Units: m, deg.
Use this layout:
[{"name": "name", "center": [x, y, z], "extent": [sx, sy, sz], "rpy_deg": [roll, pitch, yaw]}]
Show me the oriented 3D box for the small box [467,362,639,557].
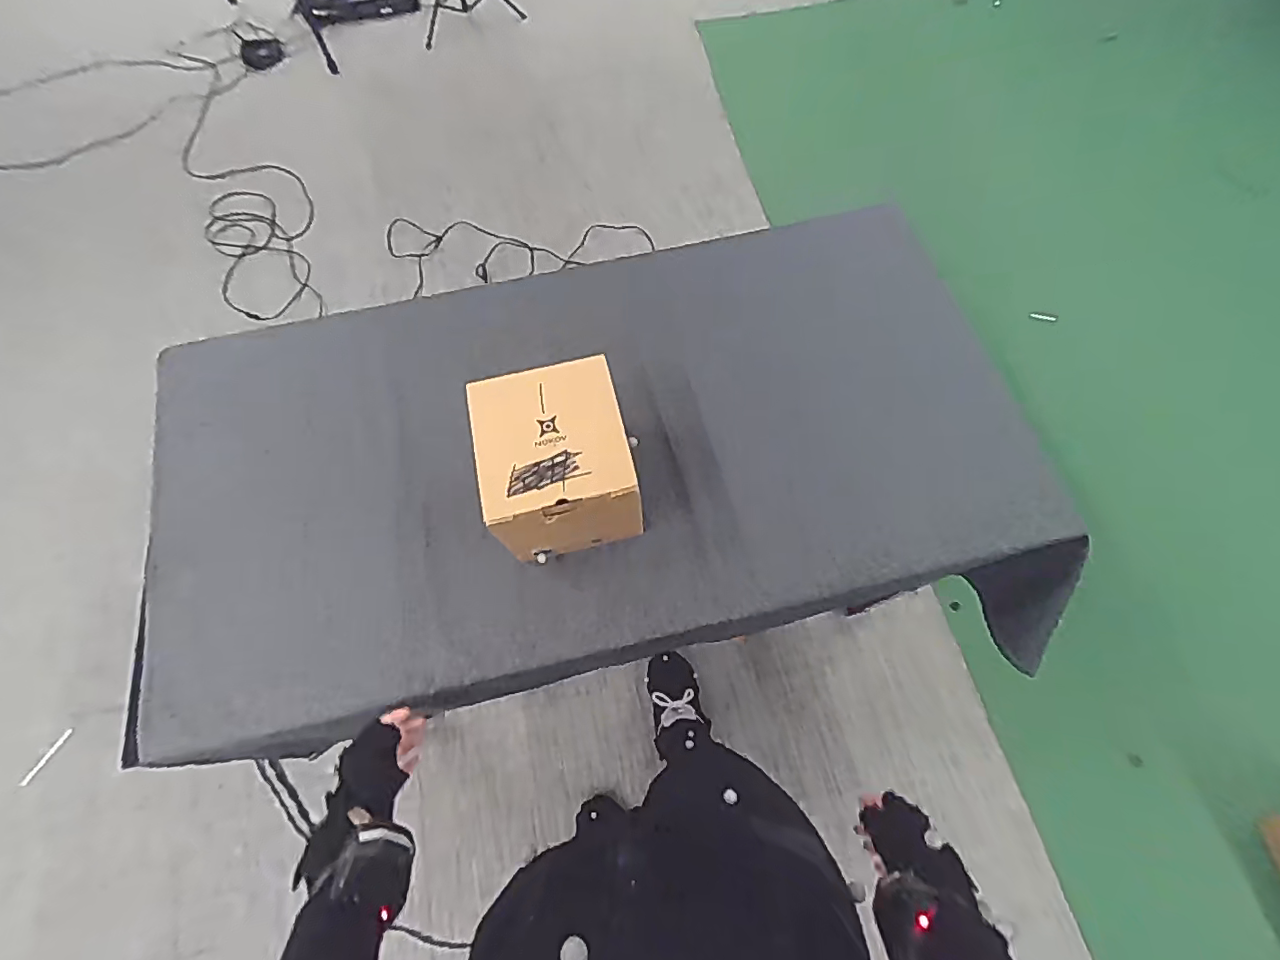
[{"name": "small box", "center": [-0.100, -0.013, 0.673], "extent": [0.168, 0.176, 0.179], "rpy_deg": [-13, 67, -4]}]
